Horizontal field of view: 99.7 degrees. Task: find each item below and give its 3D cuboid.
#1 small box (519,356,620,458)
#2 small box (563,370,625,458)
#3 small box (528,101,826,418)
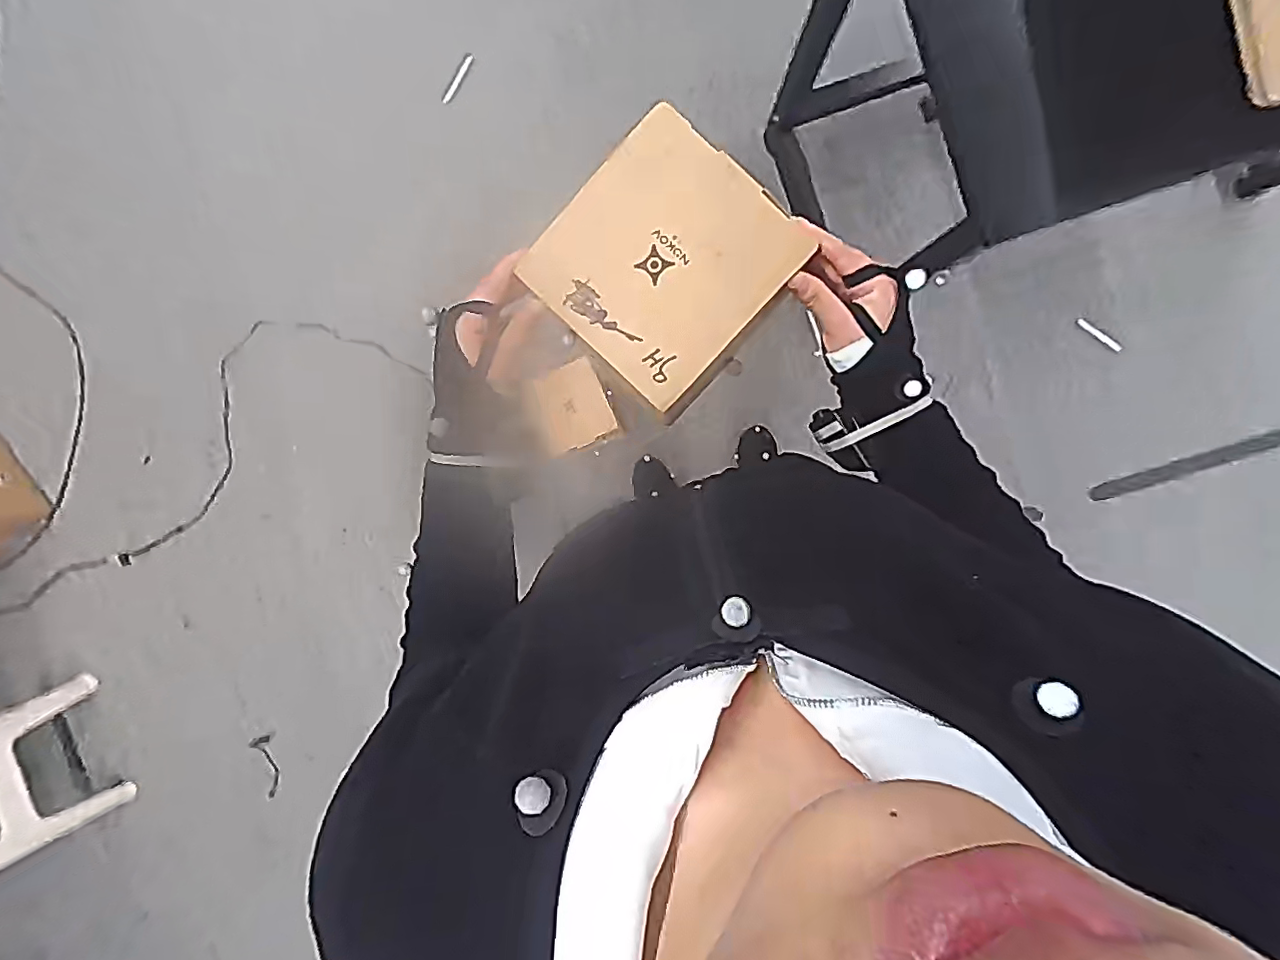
[{"bbox_3d":[-0.154,-0.164,1.259,0.168,0.176,0.179,-26,91,1],"label":"small box"},{"bbox_3d":[-0.147,-0.167,1.421,0.168,0.176,0.179,-23,93,2],"label":"small box"},{"bbox_3d":[0.031,-0.177,0.496,0.168,0.176,0.179,44,94,3],"label":"small box"}]
